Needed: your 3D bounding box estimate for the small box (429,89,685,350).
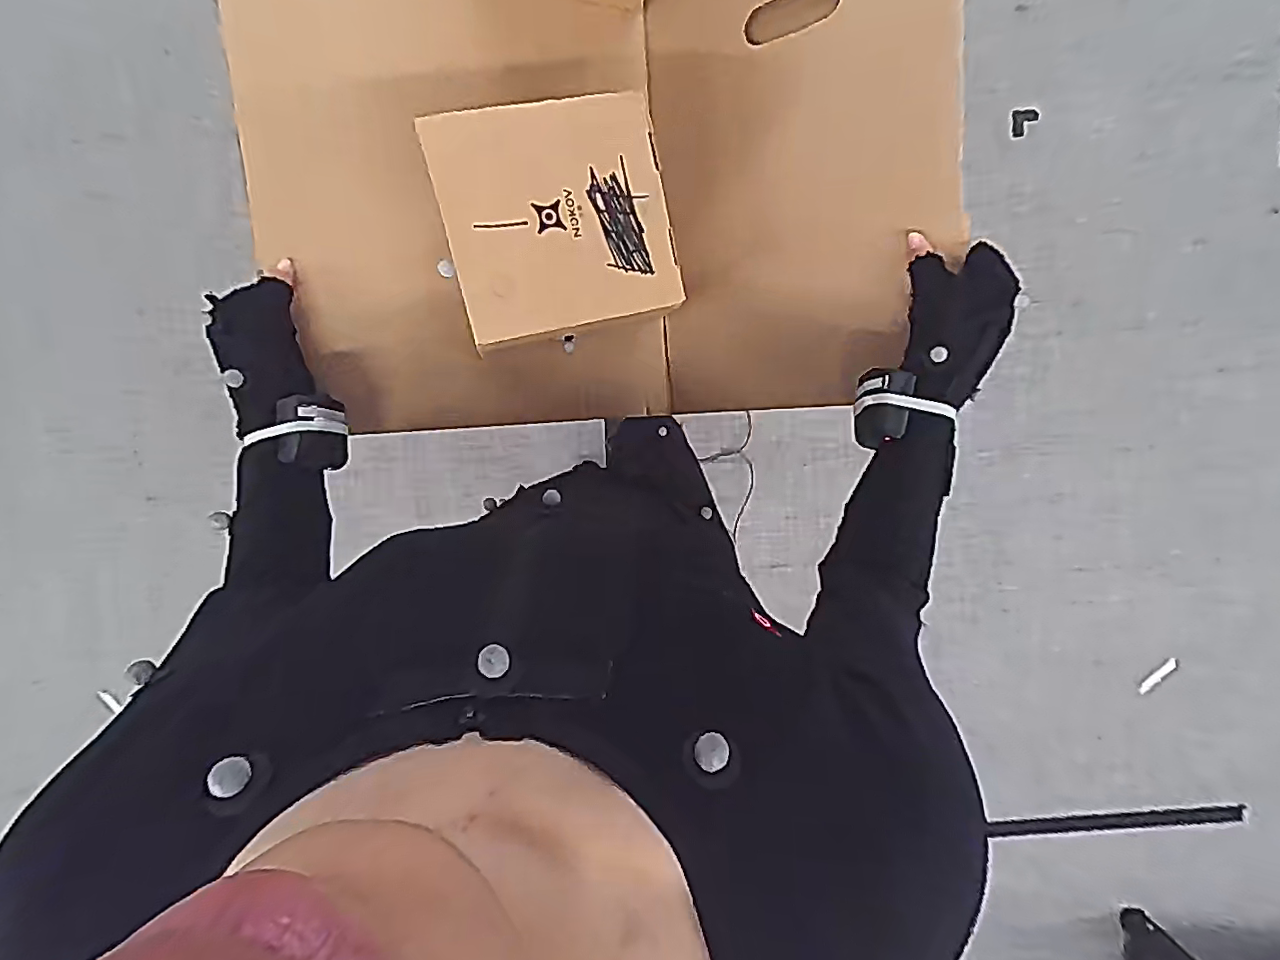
[{"bbox_3d":[-0.078,-0.225,0.506,0.179,0.176,0.168,-15,100,-11],"label":"small box"}]
